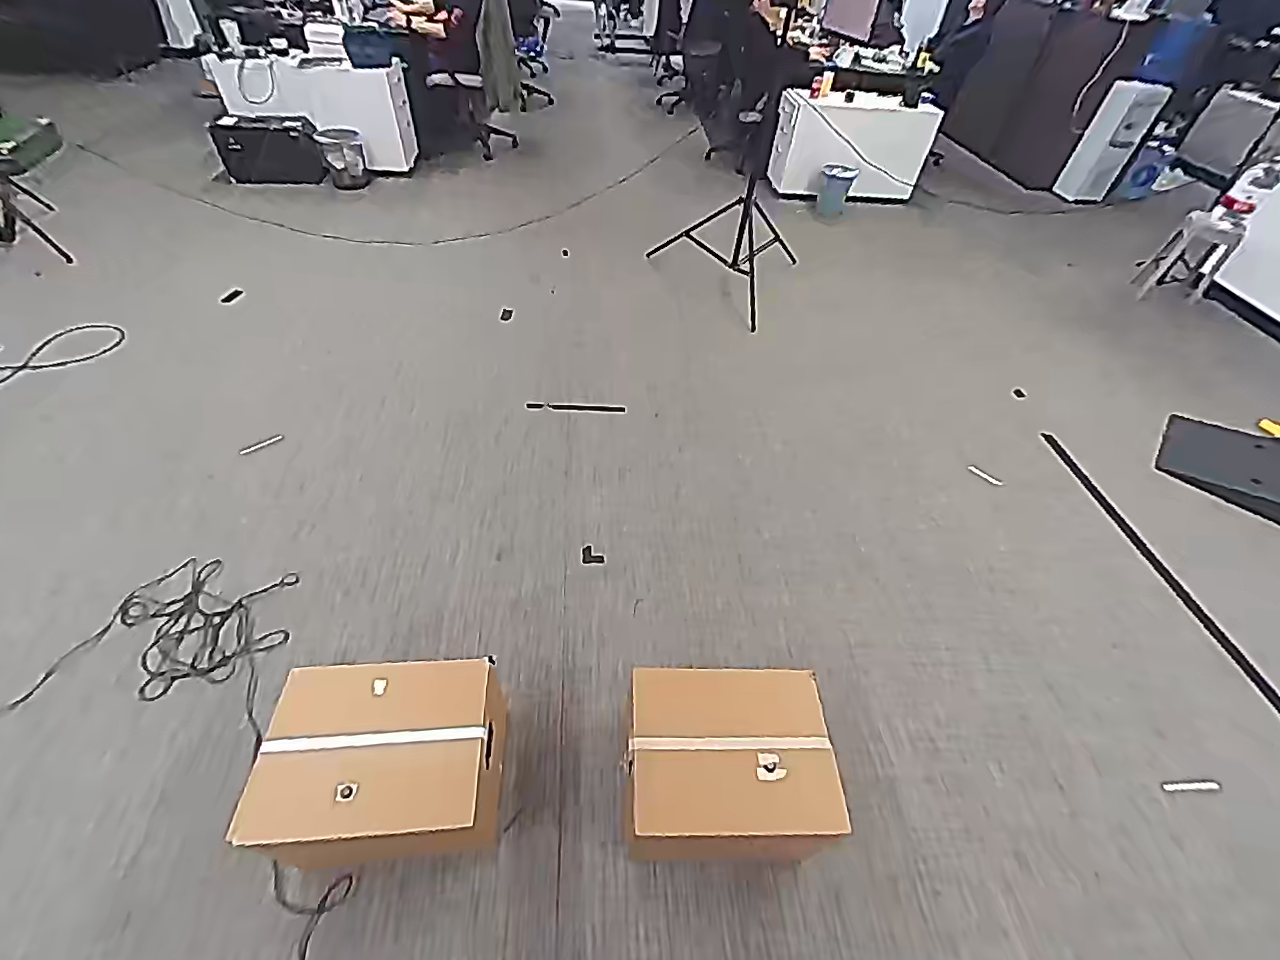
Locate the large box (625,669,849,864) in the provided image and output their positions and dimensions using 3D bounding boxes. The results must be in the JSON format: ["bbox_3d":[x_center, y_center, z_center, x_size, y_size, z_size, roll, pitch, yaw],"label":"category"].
[{"bbox_3d":[0.177,0.634,1.199,0.408,0.320,0.320,3,47,-4],"label":"large box"}]
